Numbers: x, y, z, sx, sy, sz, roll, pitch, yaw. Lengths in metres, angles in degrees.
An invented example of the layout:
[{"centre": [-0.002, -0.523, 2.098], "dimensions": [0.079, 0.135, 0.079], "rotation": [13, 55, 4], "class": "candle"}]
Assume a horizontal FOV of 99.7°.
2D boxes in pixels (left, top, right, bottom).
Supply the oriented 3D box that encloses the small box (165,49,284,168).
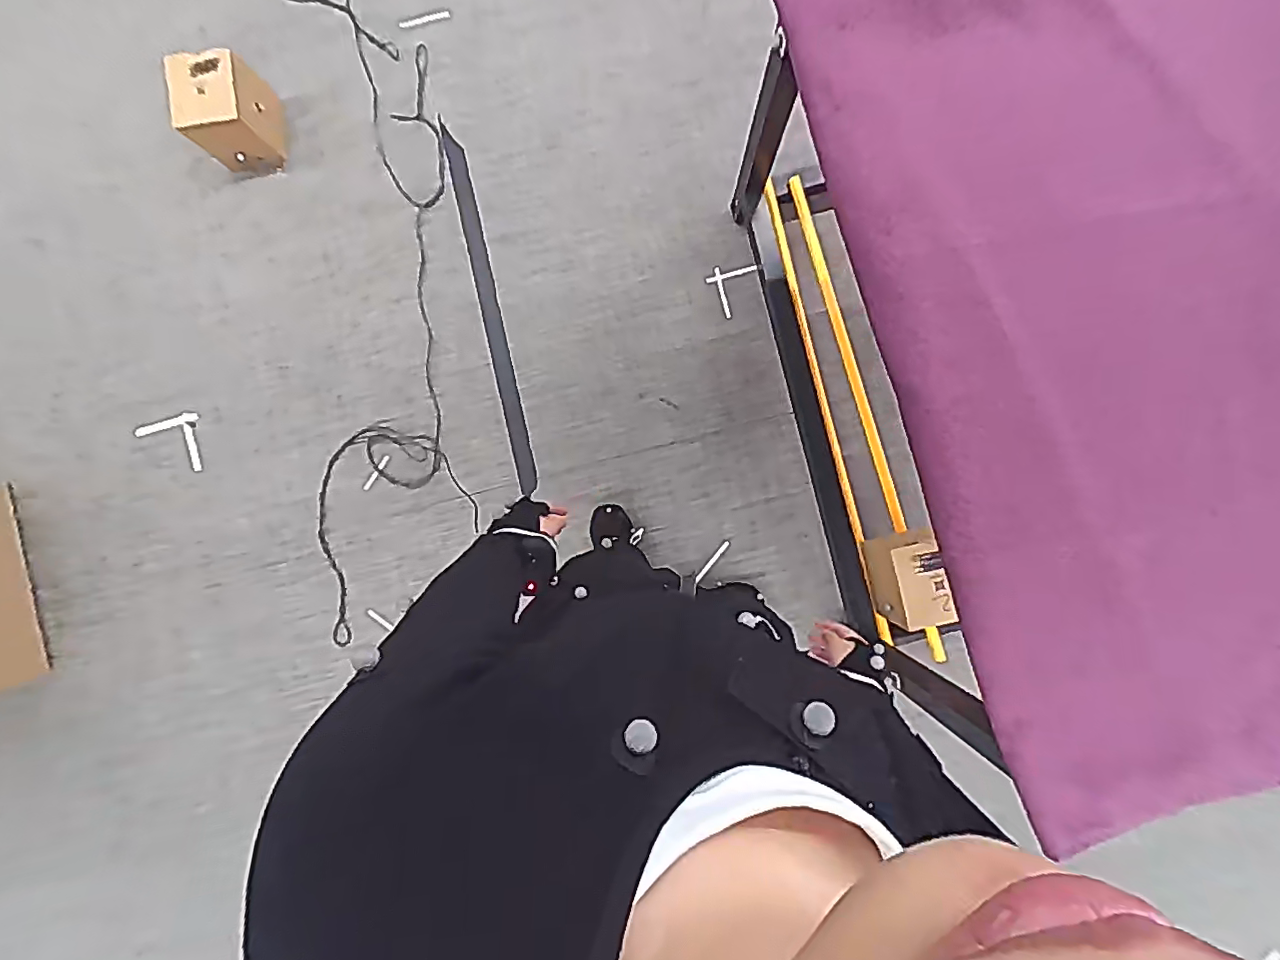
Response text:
[{"centre": [-1.036, -0.926, 1.360], "dimensions": [0.168, 0.176, 0.179], "rotation": [-7, 89, 2], "class": "small box"}]
